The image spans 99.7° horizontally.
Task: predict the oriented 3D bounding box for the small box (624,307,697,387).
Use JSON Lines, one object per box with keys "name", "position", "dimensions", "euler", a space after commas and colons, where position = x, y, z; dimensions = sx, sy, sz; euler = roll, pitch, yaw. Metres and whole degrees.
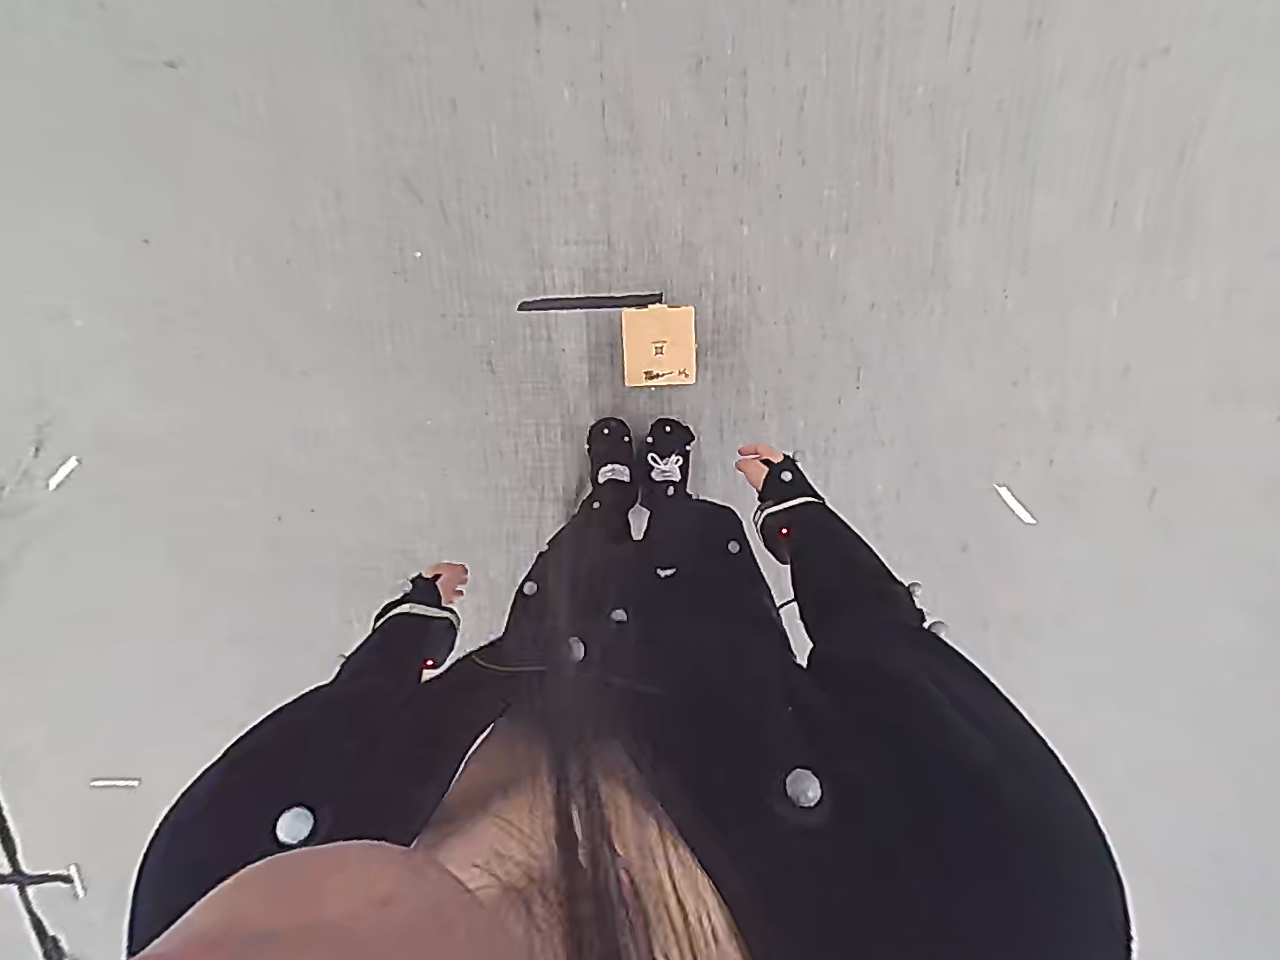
{"name": "small box", "position": [0.047, -0.317, 1.312], "dimensions": [0.168, 0.176, 0.179], "euler": [-2, 102, 1]}
